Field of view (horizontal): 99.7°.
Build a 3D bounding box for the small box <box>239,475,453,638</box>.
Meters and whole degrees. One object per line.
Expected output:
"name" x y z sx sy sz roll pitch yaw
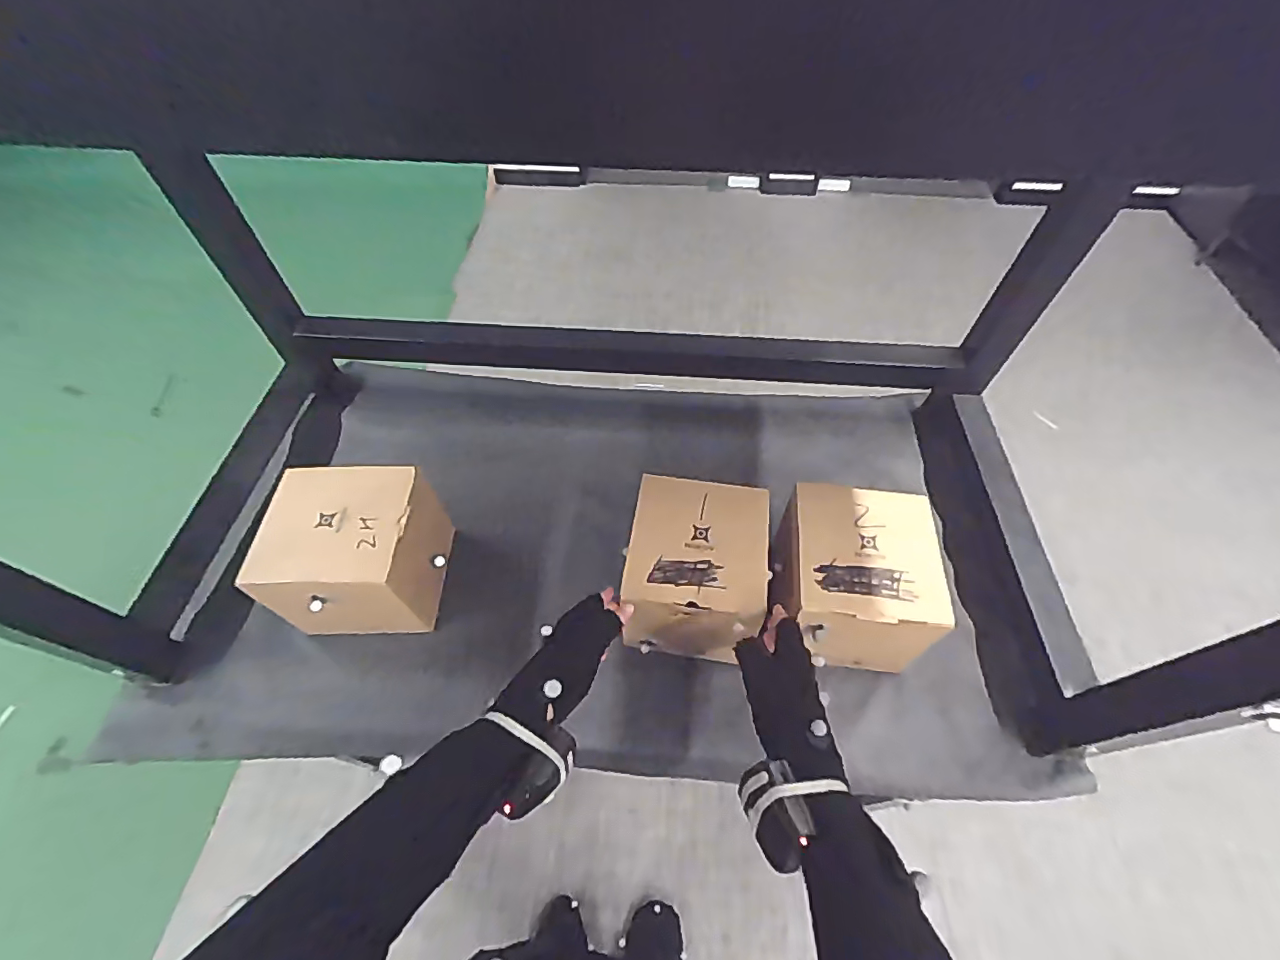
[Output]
"small box" -0.375 0.108 0.730 0.179 0.176 0.168 0 55 0
